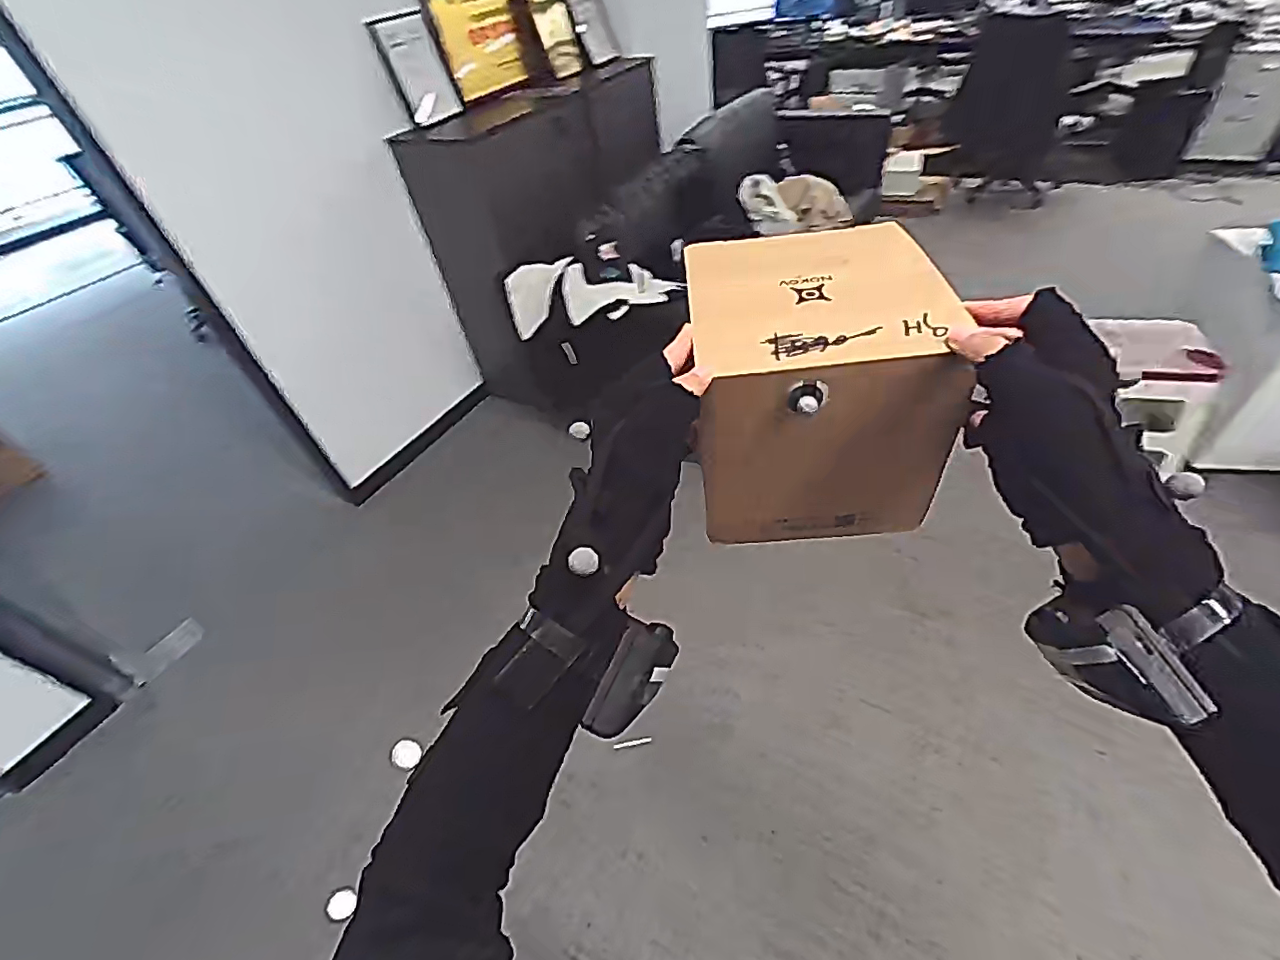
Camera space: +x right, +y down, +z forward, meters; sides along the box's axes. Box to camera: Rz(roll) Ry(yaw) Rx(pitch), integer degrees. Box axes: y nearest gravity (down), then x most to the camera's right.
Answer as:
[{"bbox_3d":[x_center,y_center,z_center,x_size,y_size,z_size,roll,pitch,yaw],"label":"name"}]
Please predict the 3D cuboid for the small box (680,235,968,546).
[{"bbox_3d":[0.122,-0.070,0.433,0.168,0.176,0.179,-6,45,7],"label":"small box"}]
